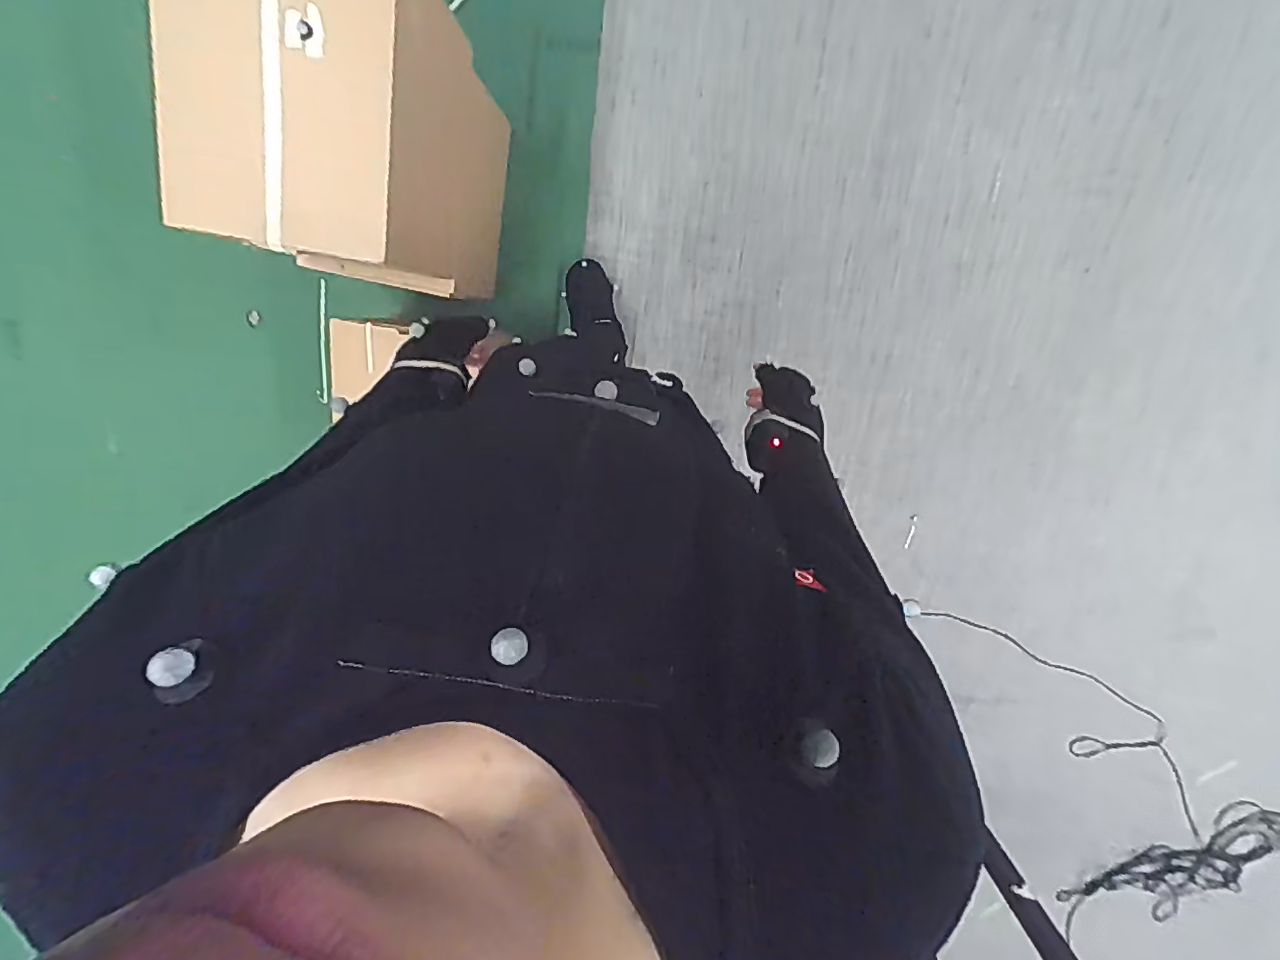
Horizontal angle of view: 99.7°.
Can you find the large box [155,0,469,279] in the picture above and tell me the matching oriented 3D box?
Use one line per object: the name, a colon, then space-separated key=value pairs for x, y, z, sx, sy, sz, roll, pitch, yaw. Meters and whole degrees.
large box: x=-0.481 y=-0.564 z=0.857 sx=0.320 sy=0.320 sz=0.408 roll=9 pitch=105 yaw=-4
